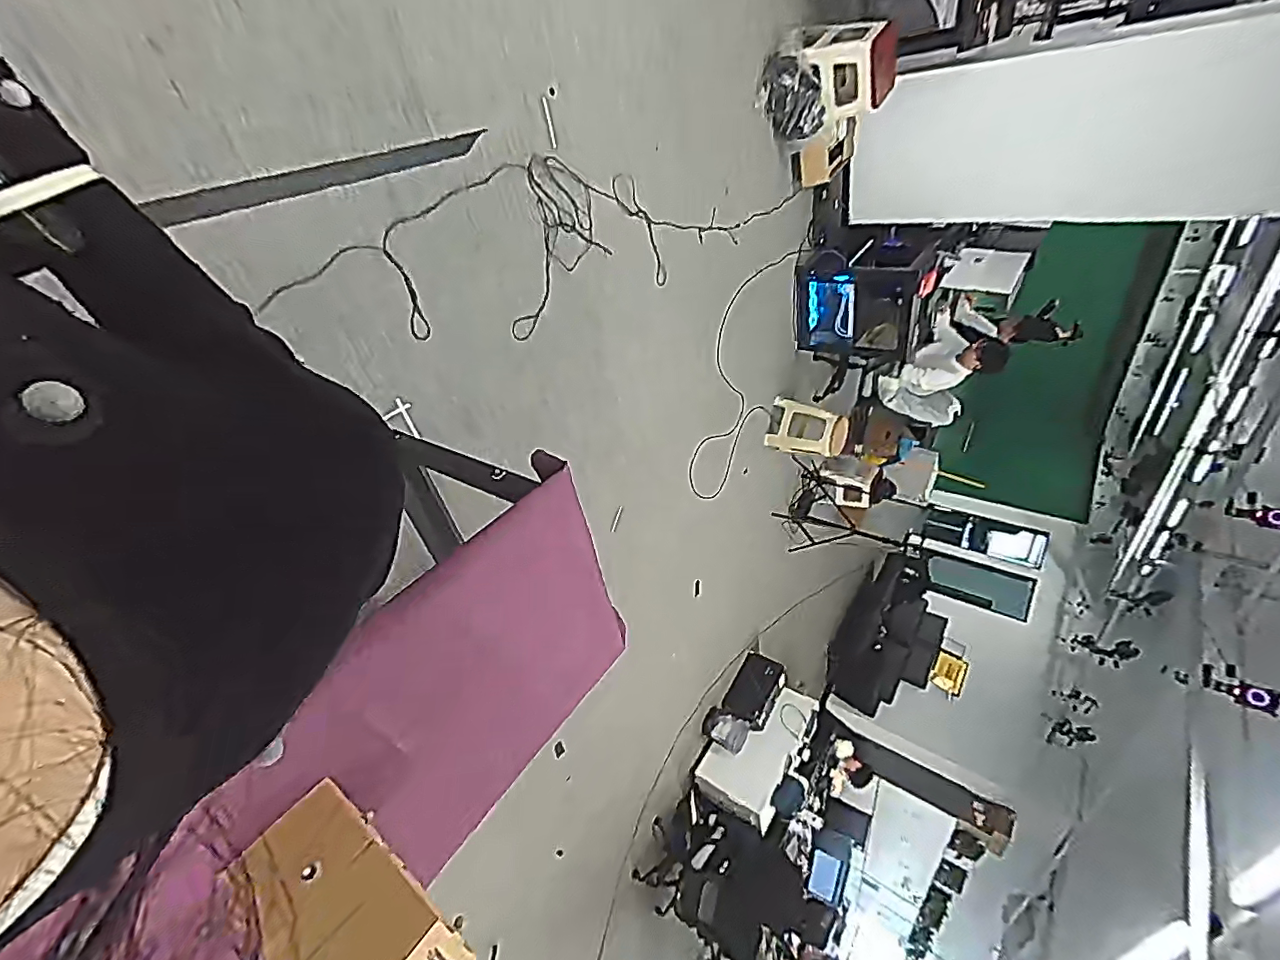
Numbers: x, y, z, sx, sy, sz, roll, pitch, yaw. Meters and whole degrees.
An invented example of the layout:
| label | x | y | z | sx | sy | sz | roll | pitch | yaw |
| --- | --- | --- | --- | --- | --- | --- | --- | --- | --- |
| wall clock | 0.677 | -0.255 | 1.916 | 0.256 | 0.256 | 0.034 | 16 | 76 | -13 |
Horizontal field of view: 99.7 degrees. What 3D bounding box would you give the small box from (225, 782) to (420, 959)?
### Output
| label | x | y | z | sx | sy | sz | roll | pitch | yaw |
| --- | --- | --- | --- | --- | --- | --- | --- | --- | --- |
| small box | -0.487 | 0.617 | 0.838 | 0.179 | 0.176 | 0.168 | -41 | 134 | -36 |
